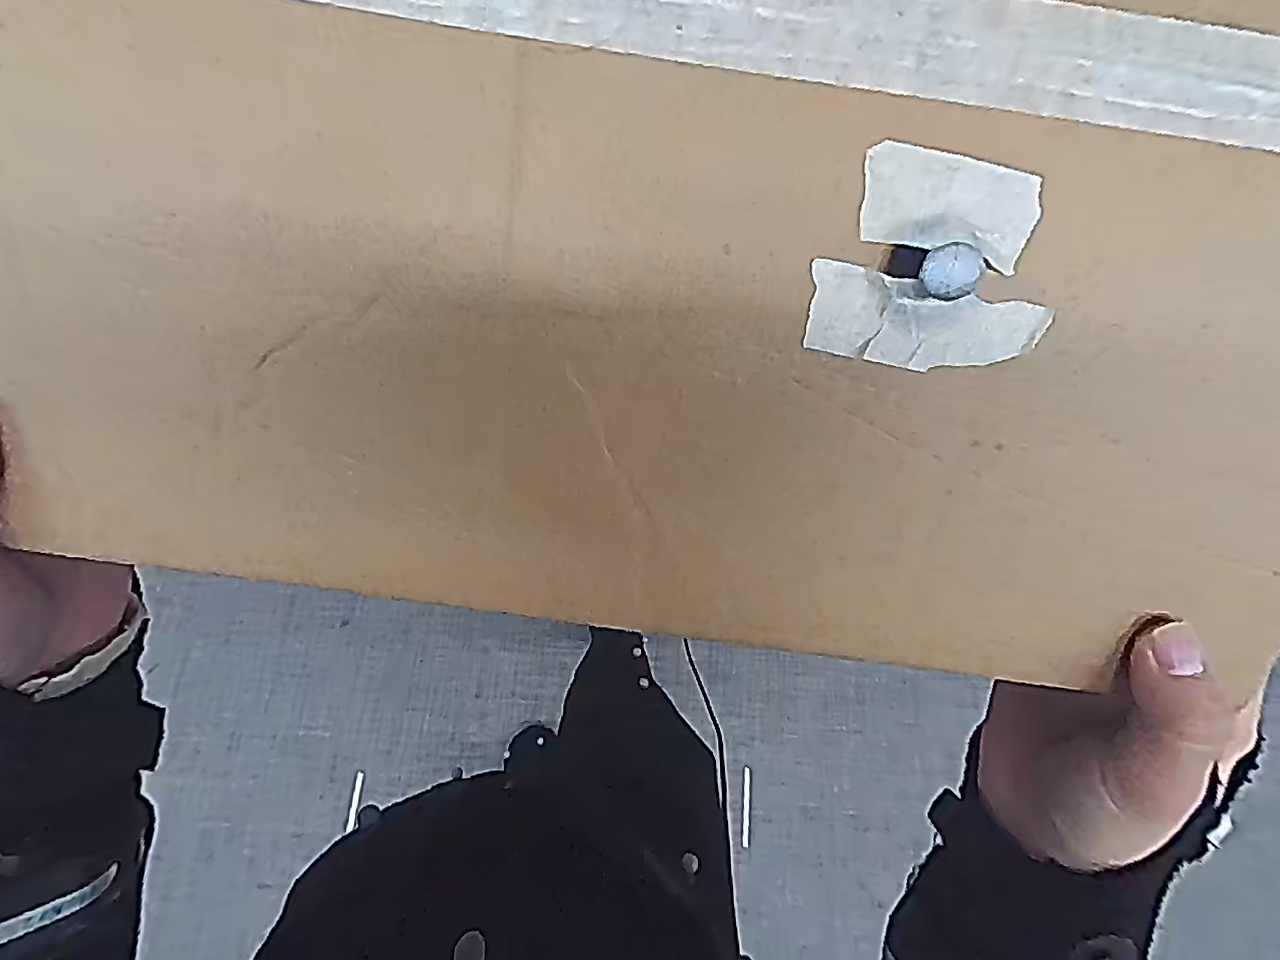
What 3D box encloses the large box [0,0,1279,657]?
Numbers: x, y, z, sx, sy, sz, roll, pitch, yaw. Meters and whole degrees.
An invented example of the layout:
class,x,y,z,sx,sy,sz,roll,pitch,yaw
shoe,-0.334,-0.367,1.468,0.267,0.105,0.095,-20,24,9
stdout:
class,x,y,z,sx,sy,sz,roll,pitch,yaw
large box,0.014,-0.148,0.278,0.408,0.320,0.320,8,107,-3
